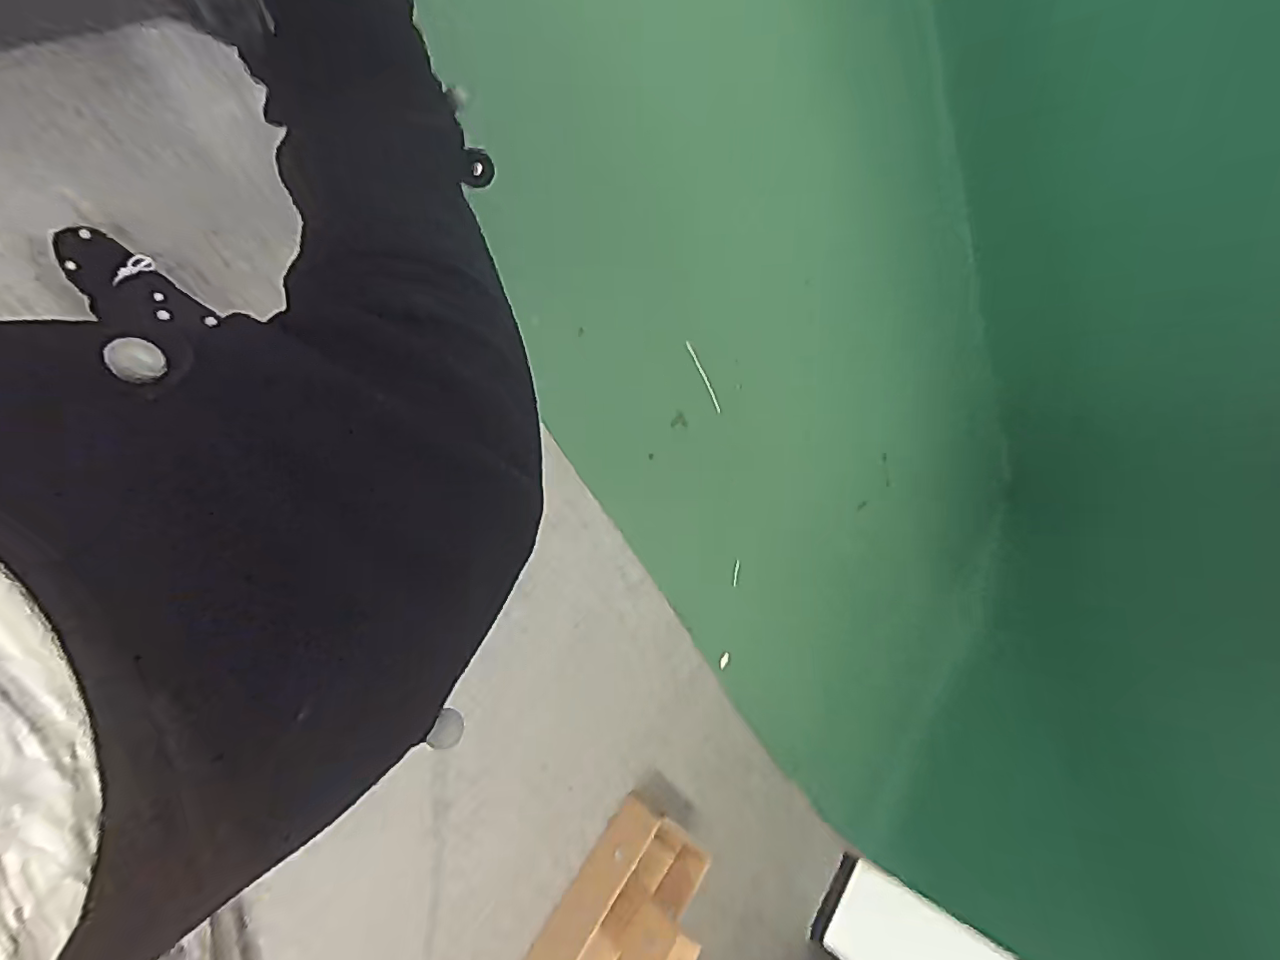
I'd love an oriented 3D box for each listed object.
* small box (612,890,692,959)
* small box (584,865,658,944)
[{"bbox_3d":[0.030,1.495,1.757,0.179,0.176,0.168,-50,124,-24],"label":"small box"},{"bbox_3d":[-0.062,1.484,1.873,0.168,0.176,0.179,-51,125,-23],"label":"small box"}]
